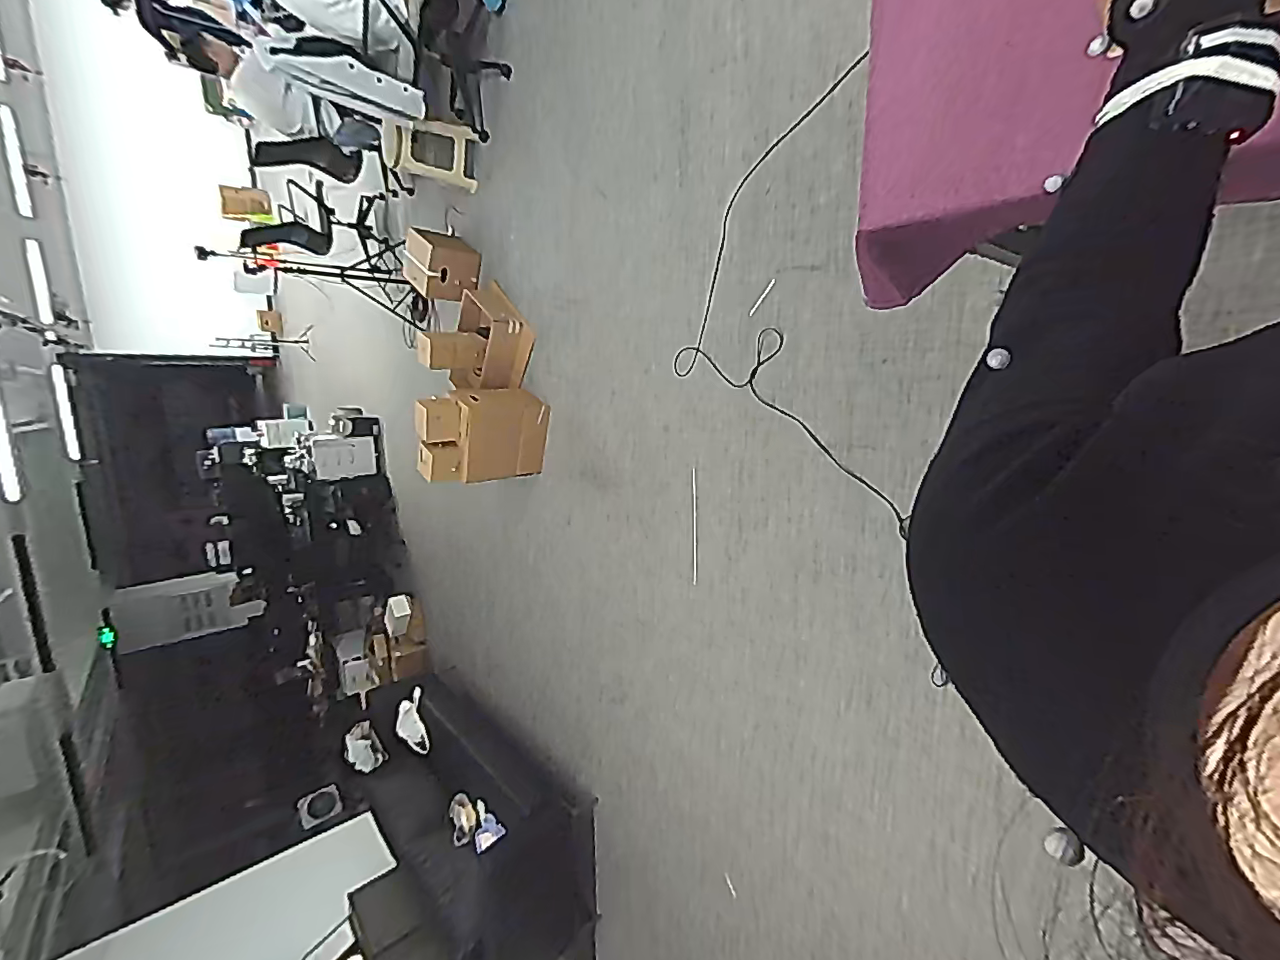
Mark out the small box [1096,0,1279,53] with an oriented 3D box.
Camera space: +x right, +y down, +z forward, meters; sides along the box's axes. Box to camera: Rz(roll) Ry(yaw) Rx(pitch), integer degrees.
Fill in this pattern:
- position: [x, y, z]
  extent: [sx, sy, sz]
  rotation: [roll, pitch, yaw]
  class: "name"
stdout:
- position: [0.501, -0.519, 0.452]
  extent: [0.168, 0.176, 0.179]
  rotation: [17, 101, 46]
  class: "small box"
